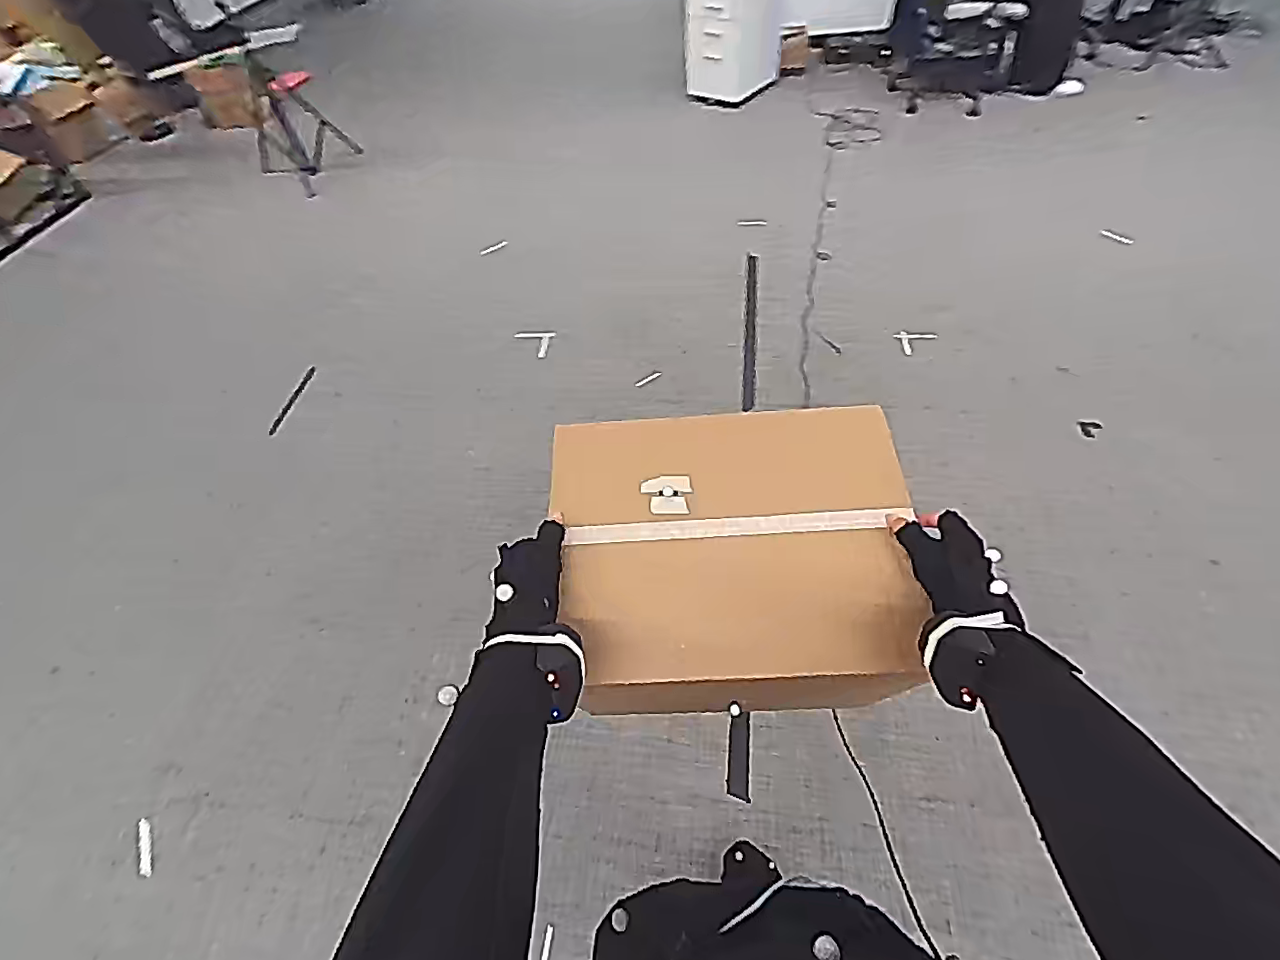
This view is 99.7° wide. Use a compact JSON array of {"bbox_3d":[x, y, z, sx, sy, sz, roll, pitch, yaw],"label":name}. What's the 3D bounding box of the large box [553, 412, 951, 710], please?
[{"bbox_3d":[0.119,0.132,0.739,0.408,0.320,0.320,-3,60,4],"label":"large box"}]
